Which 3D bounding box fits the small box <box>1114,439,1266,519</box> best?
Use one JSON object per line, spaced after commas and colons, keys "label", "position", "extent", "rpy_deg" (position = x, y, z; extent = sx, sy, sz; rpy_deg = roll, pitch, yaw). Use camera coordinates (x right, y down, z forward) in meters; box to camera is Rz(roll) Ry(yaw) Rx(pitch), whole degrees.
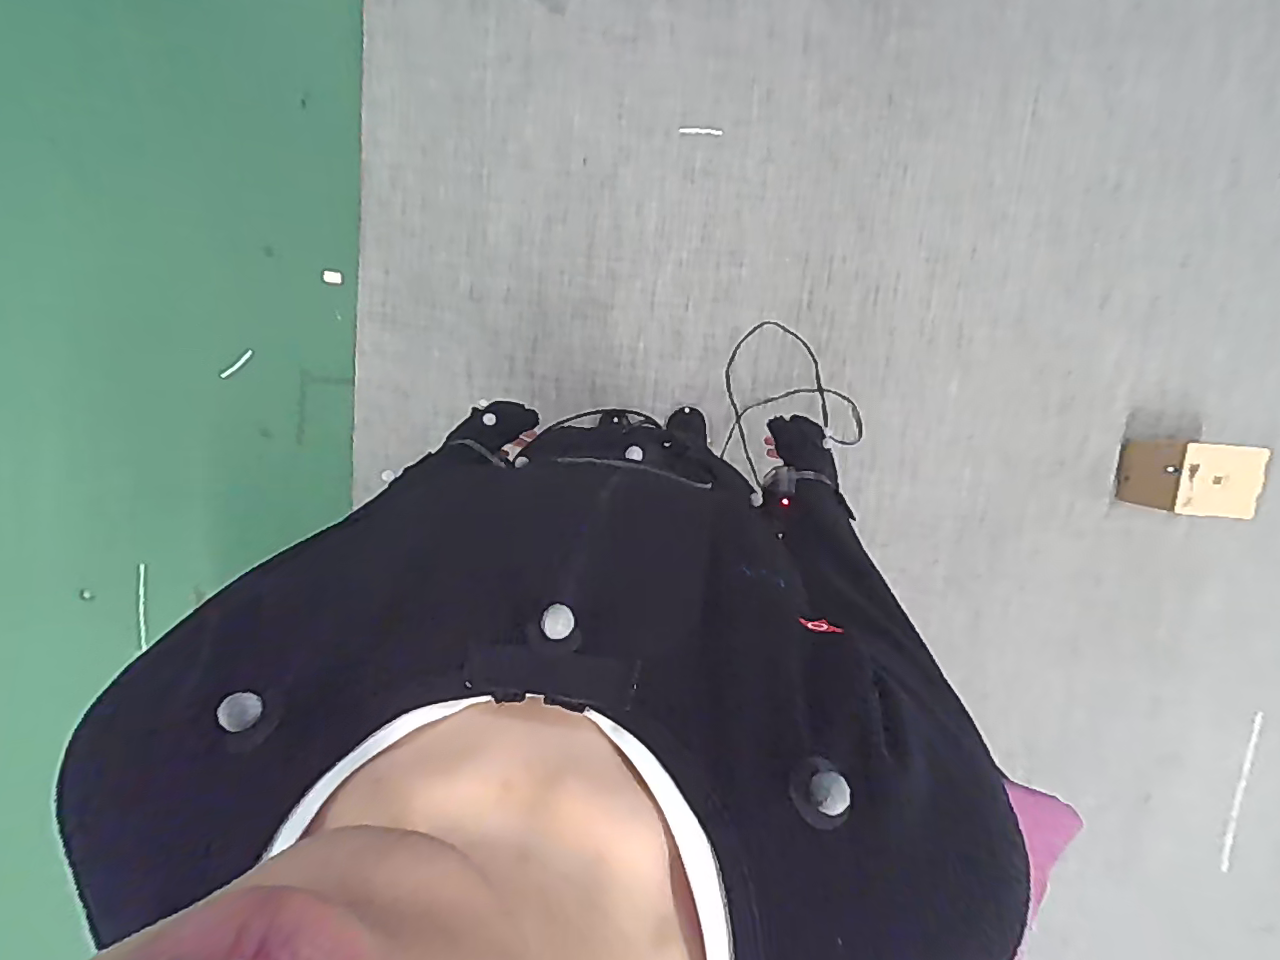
{"label": "small box", "position": [1.314, -0.009, 1.304], "extent": [0.179, 0.176, 0.168], "rpy_deg": [5, 97, 3]}
